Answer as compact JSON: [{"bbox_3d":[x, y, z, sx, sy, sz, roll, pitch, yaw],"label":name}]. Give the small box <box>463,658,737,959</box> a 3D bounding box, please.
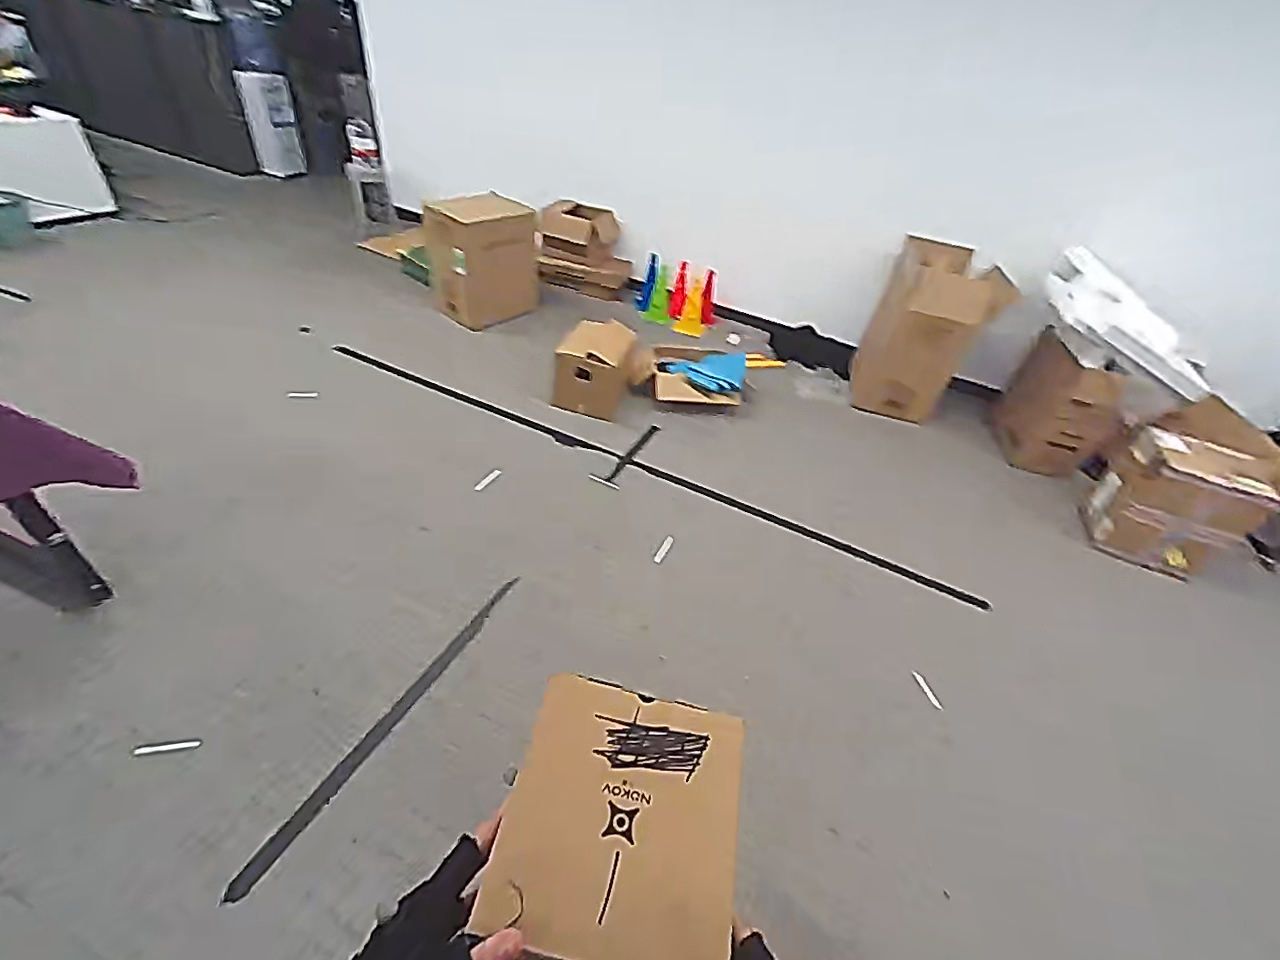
[{"bbox_3d":[-0.027,0.279,0.436,0.168,0.176,0.179,13,44,2],"label":"small box"}]
